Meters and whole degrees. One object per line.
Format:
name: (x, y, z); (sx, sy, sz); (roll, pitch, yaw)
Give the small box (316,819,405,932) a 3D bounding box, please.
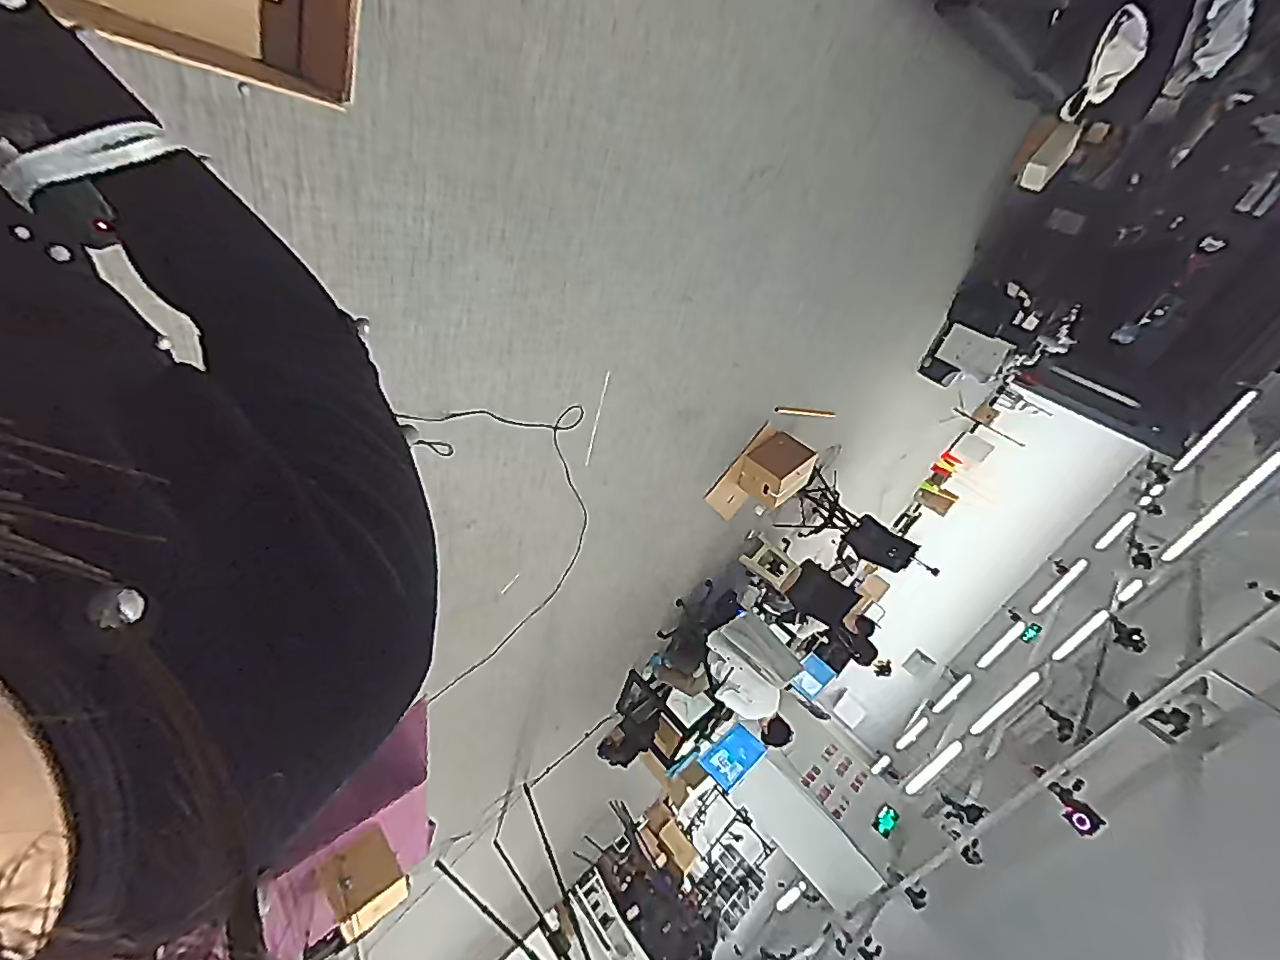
small box: (-0.766, 1.076, 1.485); (0.168, 0.176, 0.179); (-23, 142, -39)
